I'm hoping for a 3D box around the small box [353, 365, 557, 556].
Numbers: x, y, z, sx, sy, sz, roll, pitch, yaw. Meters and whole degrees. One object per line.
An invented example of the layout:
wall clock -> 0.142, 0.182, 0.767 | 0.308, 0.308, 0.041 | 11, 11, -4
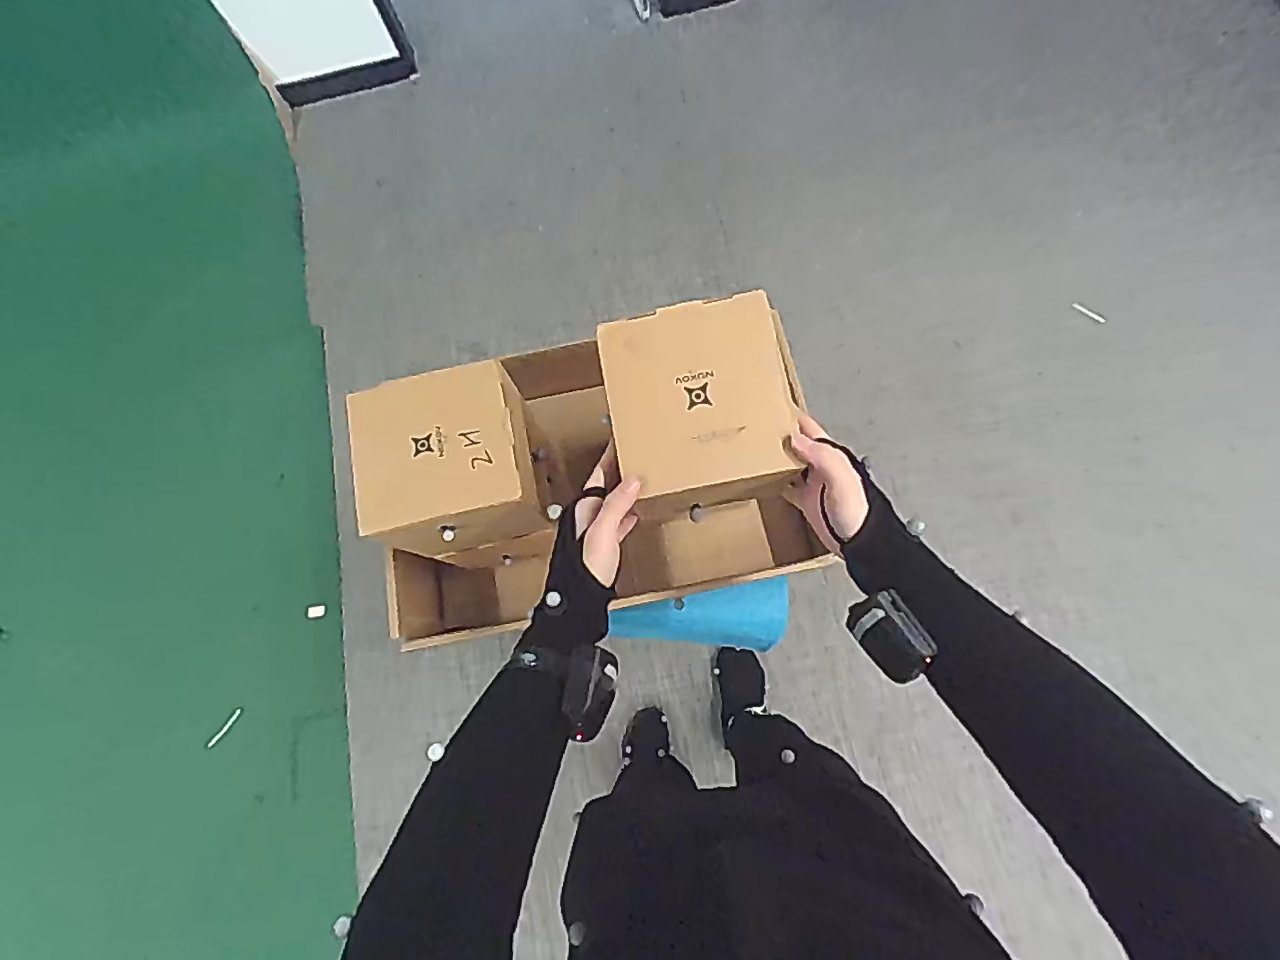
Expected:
small box -> -0.213, -0.012, 0.654 | 0.179, 0.176, 0.168 | -13, 74, 0
